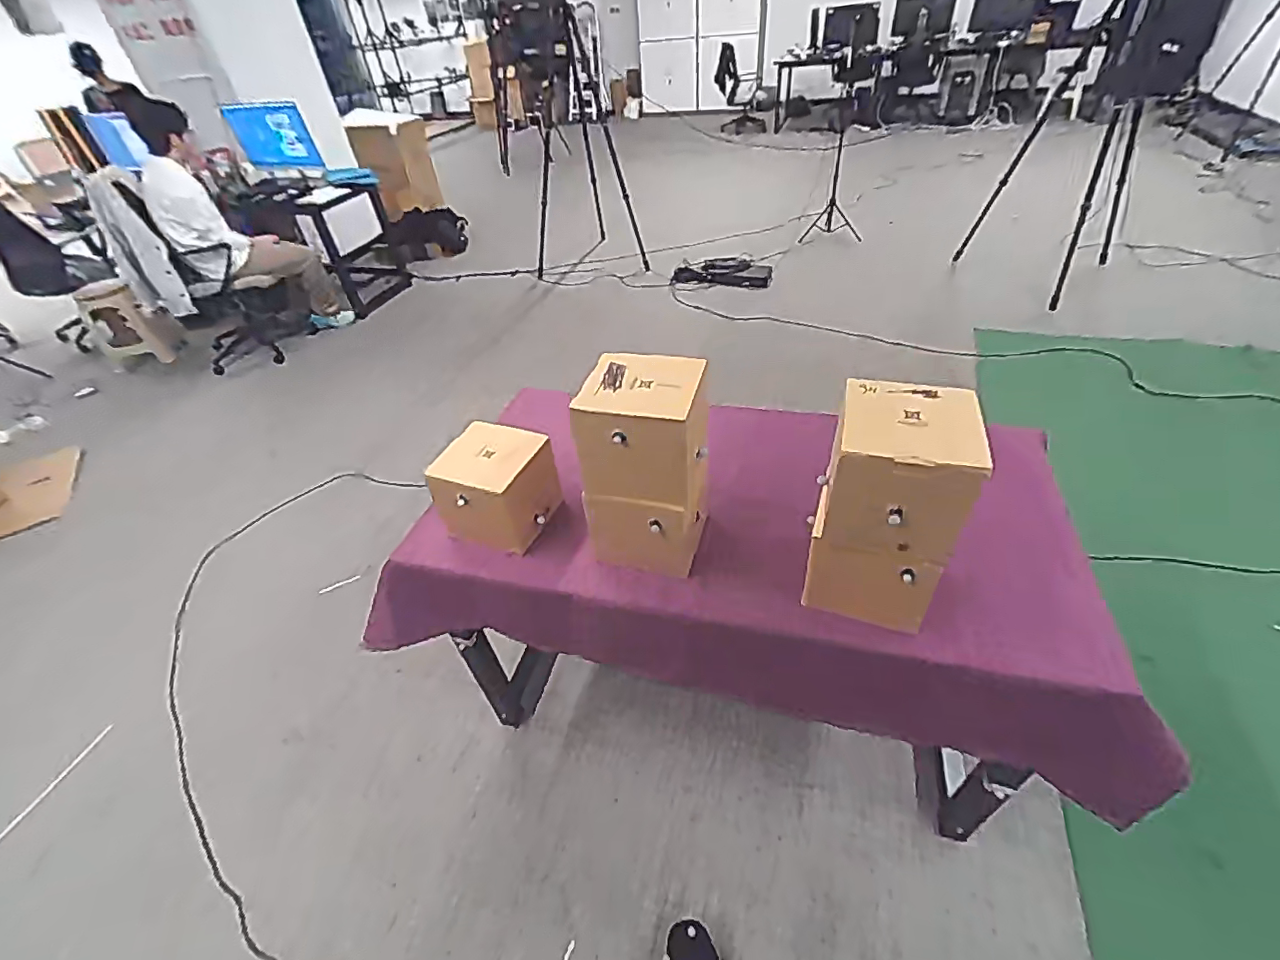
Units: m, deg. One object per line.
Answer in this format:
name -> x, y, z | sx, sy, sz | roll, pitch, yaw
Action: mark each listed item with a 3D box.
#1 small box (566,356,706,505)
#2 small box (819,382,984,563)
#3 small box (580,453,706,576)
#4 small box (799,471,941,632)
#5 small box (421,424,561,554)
small box -> 0.004, -0.078, 0.860 | 0.179, 0.176, 0.168 | 8, 43, 14
small box -> 0.347, -0.010, 0.743 | 0.168, 0.176, 0.179 | 10, 44, 16
small box -> 0.015, 0.049, 0.964 | 0.179, 0.176, 0.168 | 10, 43, 17
small box -> 0.357, 0.112, 0.852 | 0.179, 0.176, 0.168 | 12, 45, 19
small box -> -0.275, 0.018, 1.037 | 0.179, 0.176, 0.168 | 13, 45, 20
